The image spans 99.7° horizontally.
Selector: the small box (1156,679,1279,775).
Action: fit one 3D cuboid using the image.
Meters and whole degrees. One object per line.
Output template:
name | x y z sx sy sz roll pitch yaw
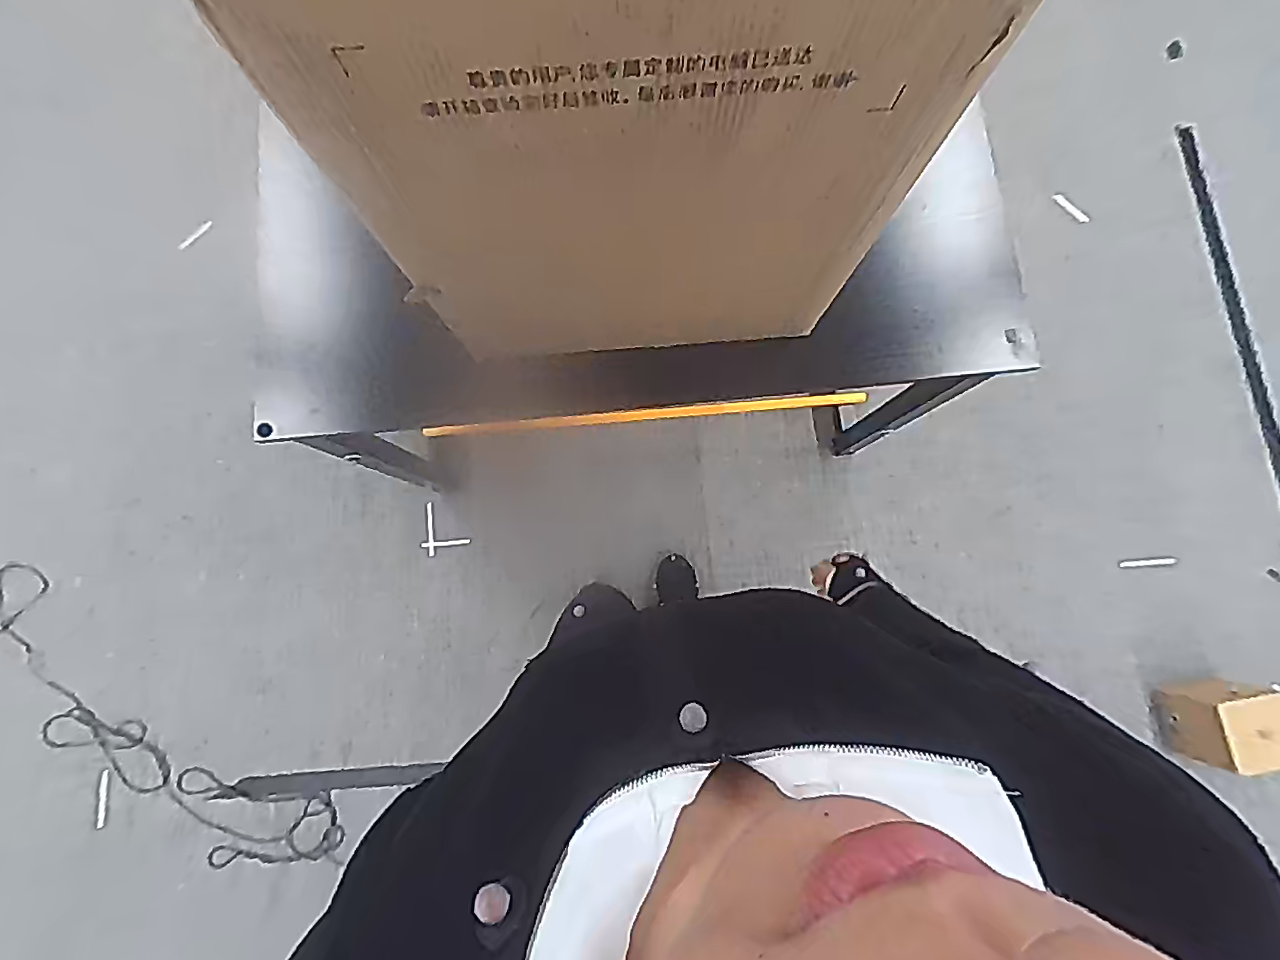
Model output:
small box | 1.471 0.608 1.353 0.179 0.176 0.168 -10 80 0
